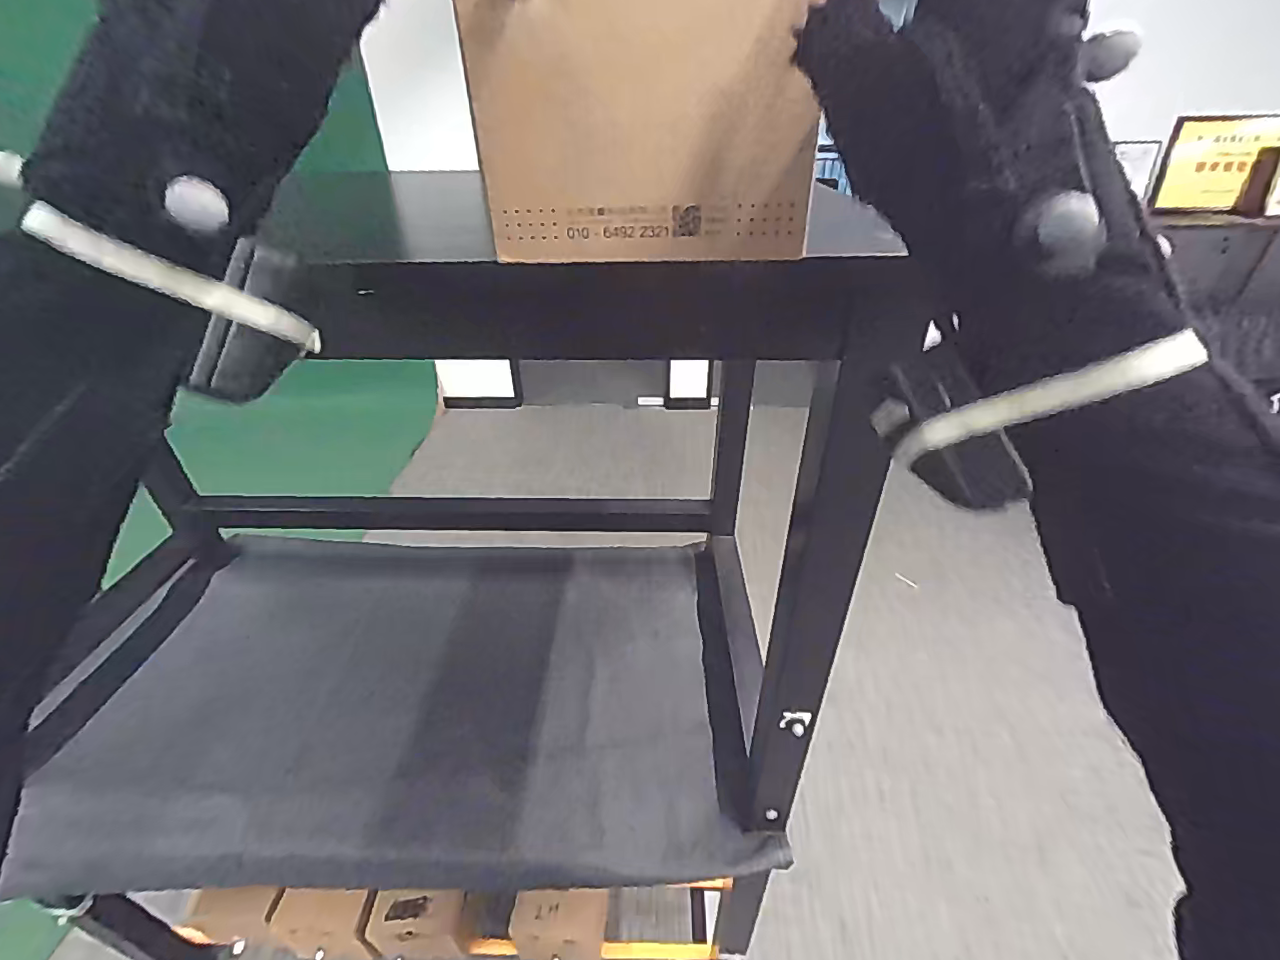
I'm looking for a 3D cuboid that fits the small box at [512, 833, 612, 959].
[{"bbox_3d":[-0.152,0.876,1.125,0.168,0.176,0.179,2,36,6],"label":"small box"}]
